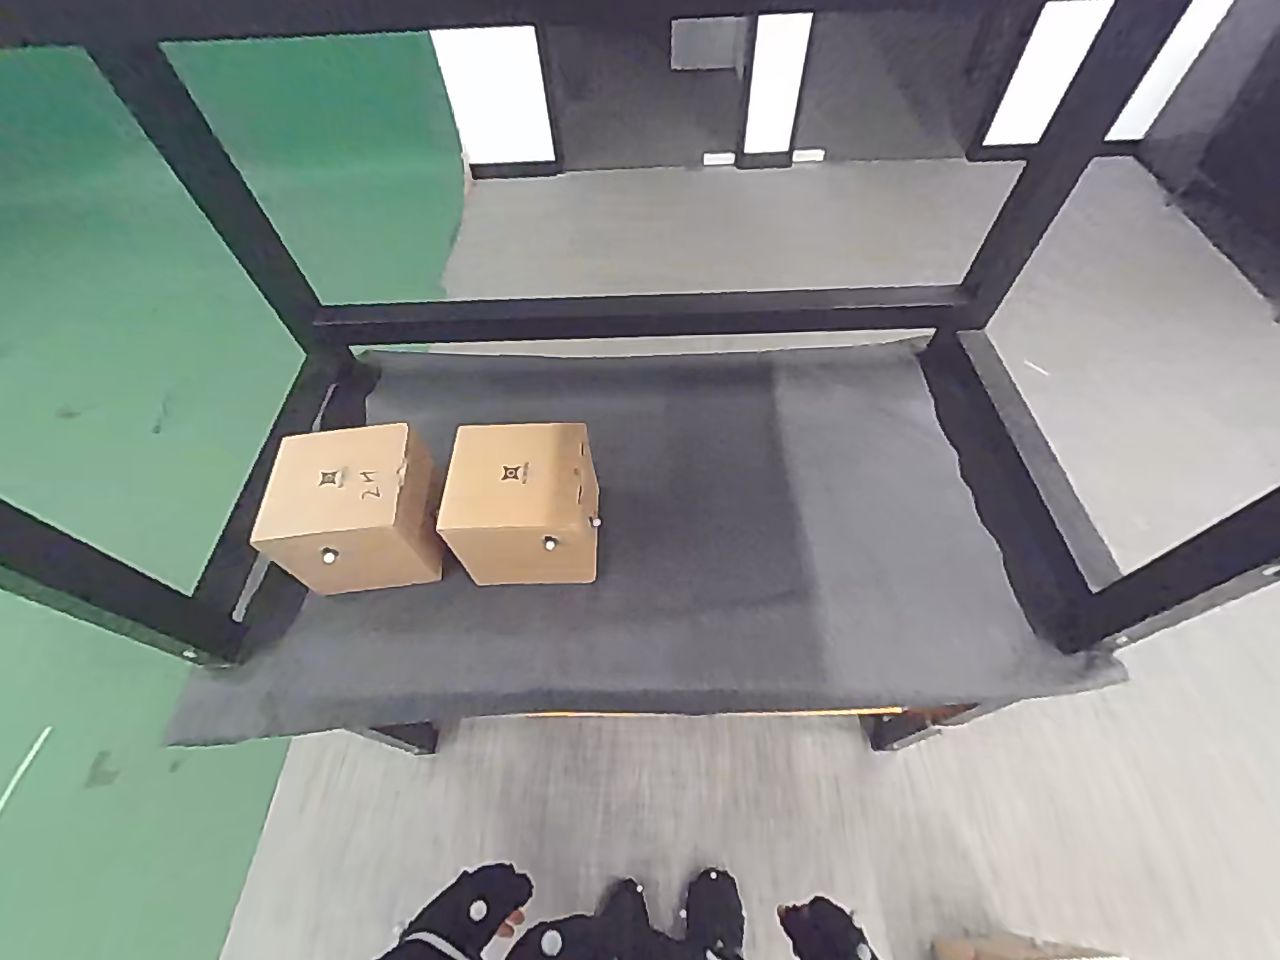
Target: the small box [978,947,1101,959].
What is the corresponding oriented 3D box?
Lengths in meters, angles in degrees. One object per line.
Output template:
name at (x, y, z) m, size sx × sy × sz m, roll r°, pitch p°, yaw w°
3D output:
small box at (0.673, 0.856, 0.842) m, size 0.168 × 0.176 × 0.179 m, roll -3°, pitch 54°, yaw 1°
